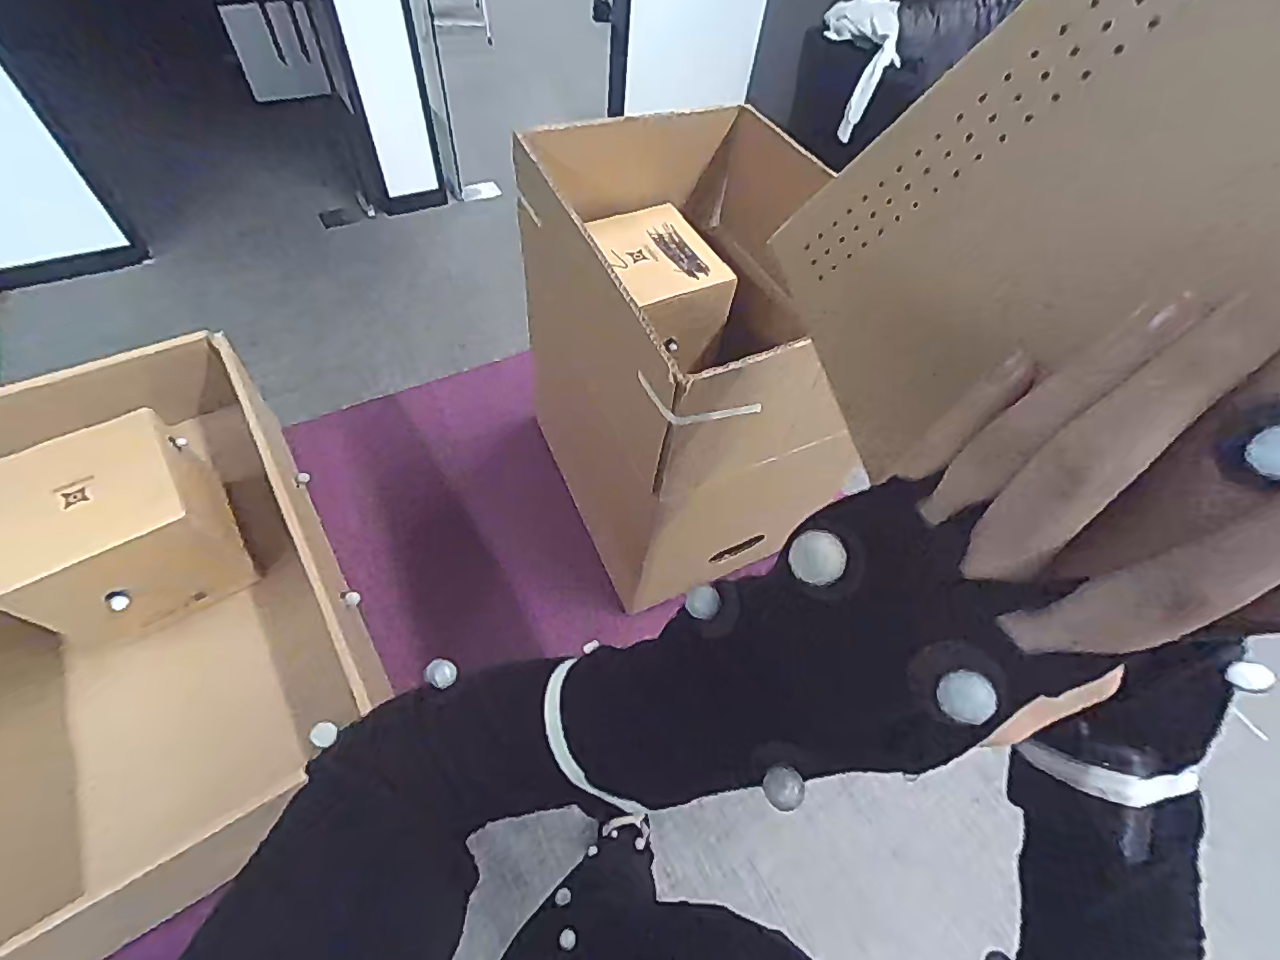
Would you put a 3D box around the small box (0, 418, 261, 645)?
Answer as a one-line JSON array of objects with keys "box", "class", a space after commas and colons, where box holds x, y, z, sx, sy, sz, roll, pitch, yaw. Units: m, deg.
[{"box": [-0.581, 0.068, 0.623, 0.168, 0.176, 0.179, -30, 64, -22], "class": "small box"}]
